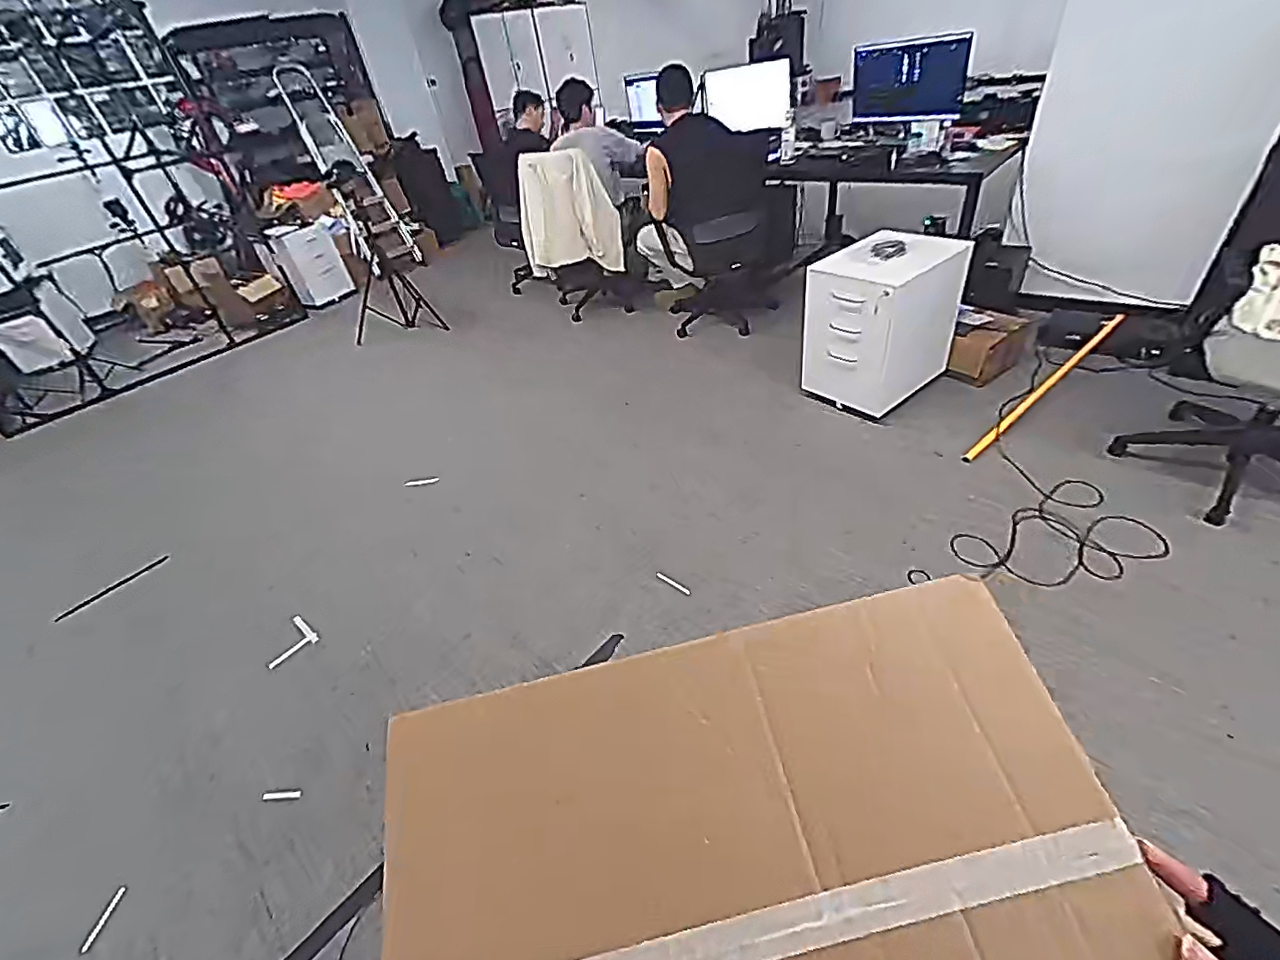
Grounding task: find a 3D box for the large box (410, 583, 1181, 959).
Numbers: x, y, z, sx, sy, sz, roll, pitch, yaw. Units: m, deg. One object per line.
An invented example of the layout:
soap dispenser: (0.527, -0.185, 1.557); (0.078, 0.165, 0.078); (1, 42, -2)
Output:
large box: (0.083, 0.321, 0.421); (0.408, 0.320, 0.320); (-14, 60, -1)
